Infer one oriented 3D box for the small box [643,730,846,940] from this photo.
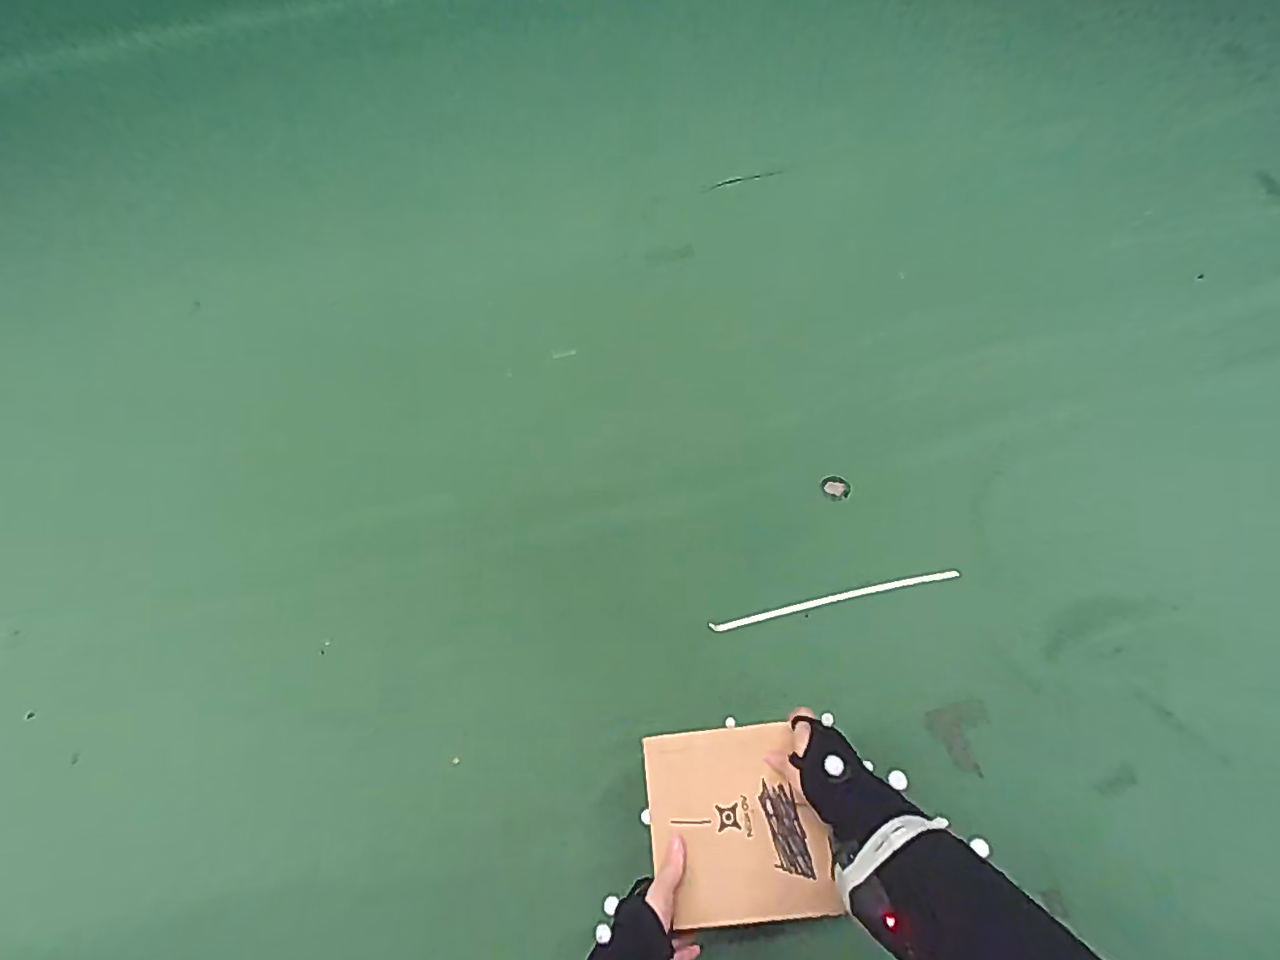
[{"bbox_3d":[0.103,0.382,0.601,0.179,0.176,0.168,-8,59,2],"label":"small box"}]
